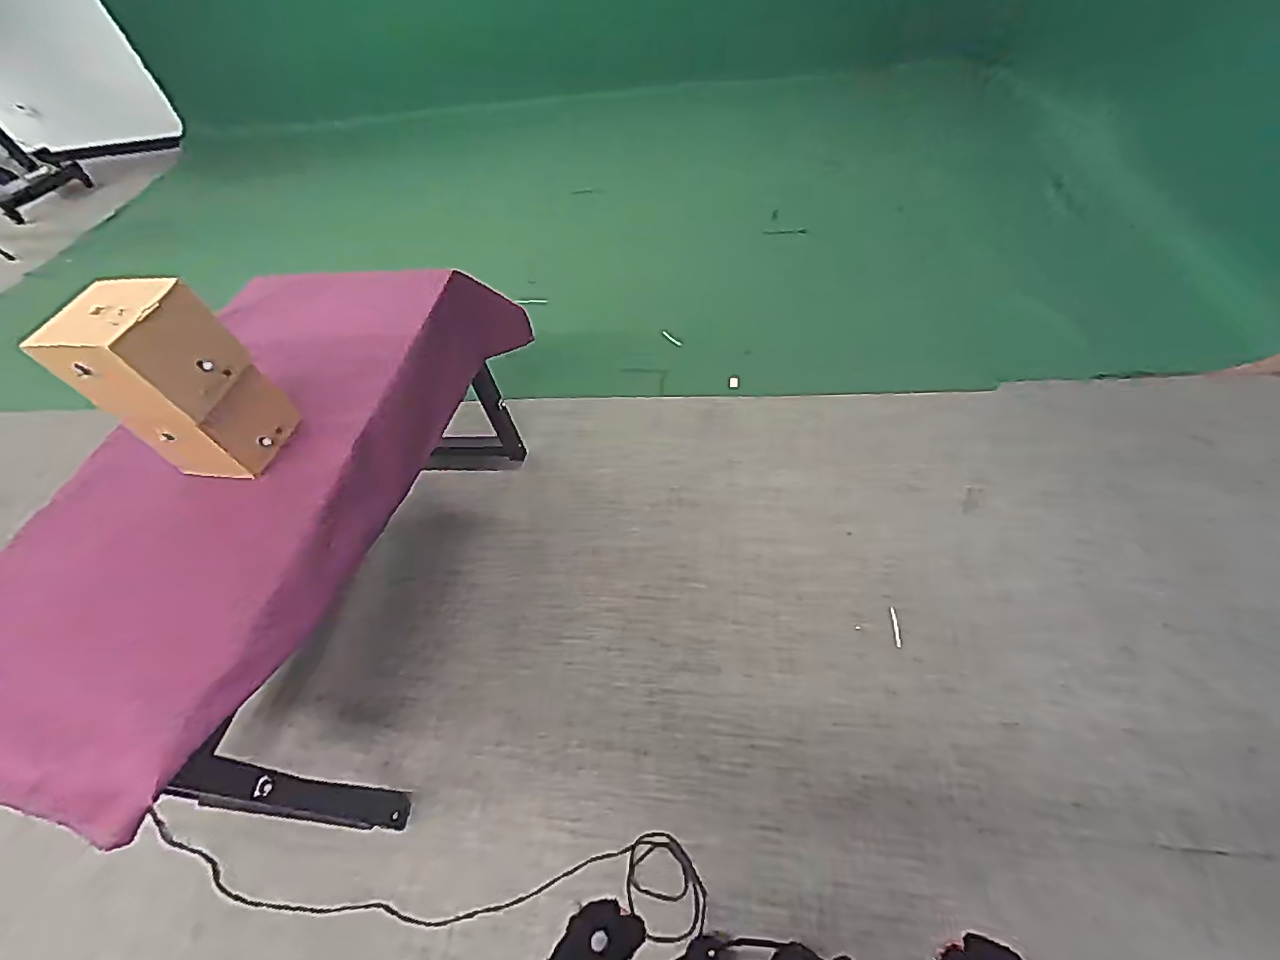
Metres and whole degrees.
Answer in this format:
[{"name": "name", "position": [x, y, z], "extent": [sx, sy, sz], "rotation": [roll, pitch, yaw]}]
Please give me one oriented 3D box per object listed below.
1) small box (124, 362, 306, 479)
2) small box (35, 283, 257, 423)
[{"name": "small box", "position": [-0.806, -0.117, 1.047], "extent": [0.179, 0.176, 0.168], "rotation": [5, 55, 12]}, {"name": "small box", "position": [-0.812, -0.210, 0.911], "extent": [0.179, 0.176, 0.168], "rotation": [3, 55, 11]}]
